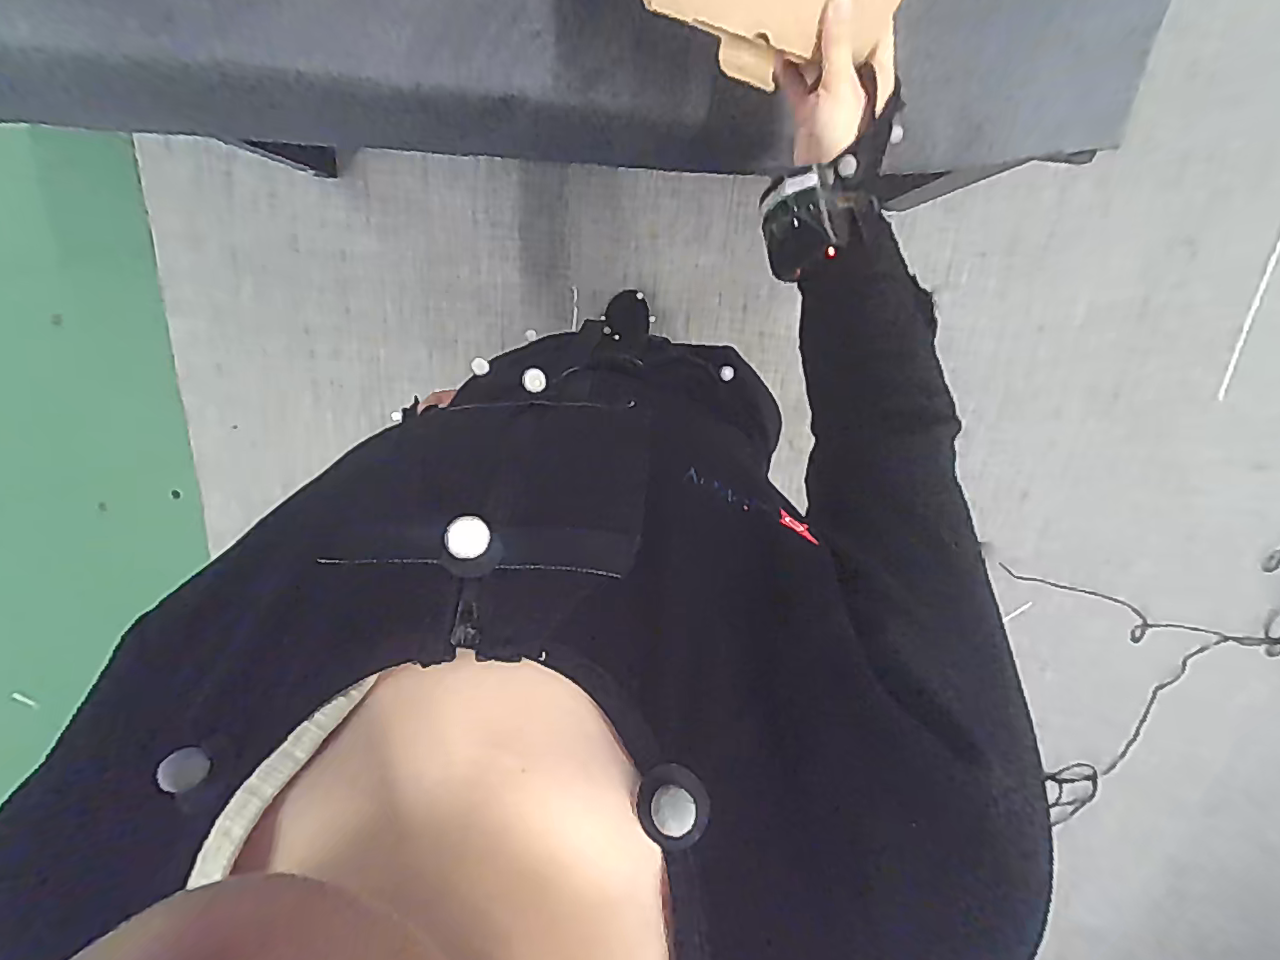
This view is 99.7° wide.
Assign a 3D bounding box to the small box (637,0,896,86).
[{"bbox_3d":[0.092,-0.408,0.342,0.168,0.176,0.179,1,150,-21],"label":"small box"}]
